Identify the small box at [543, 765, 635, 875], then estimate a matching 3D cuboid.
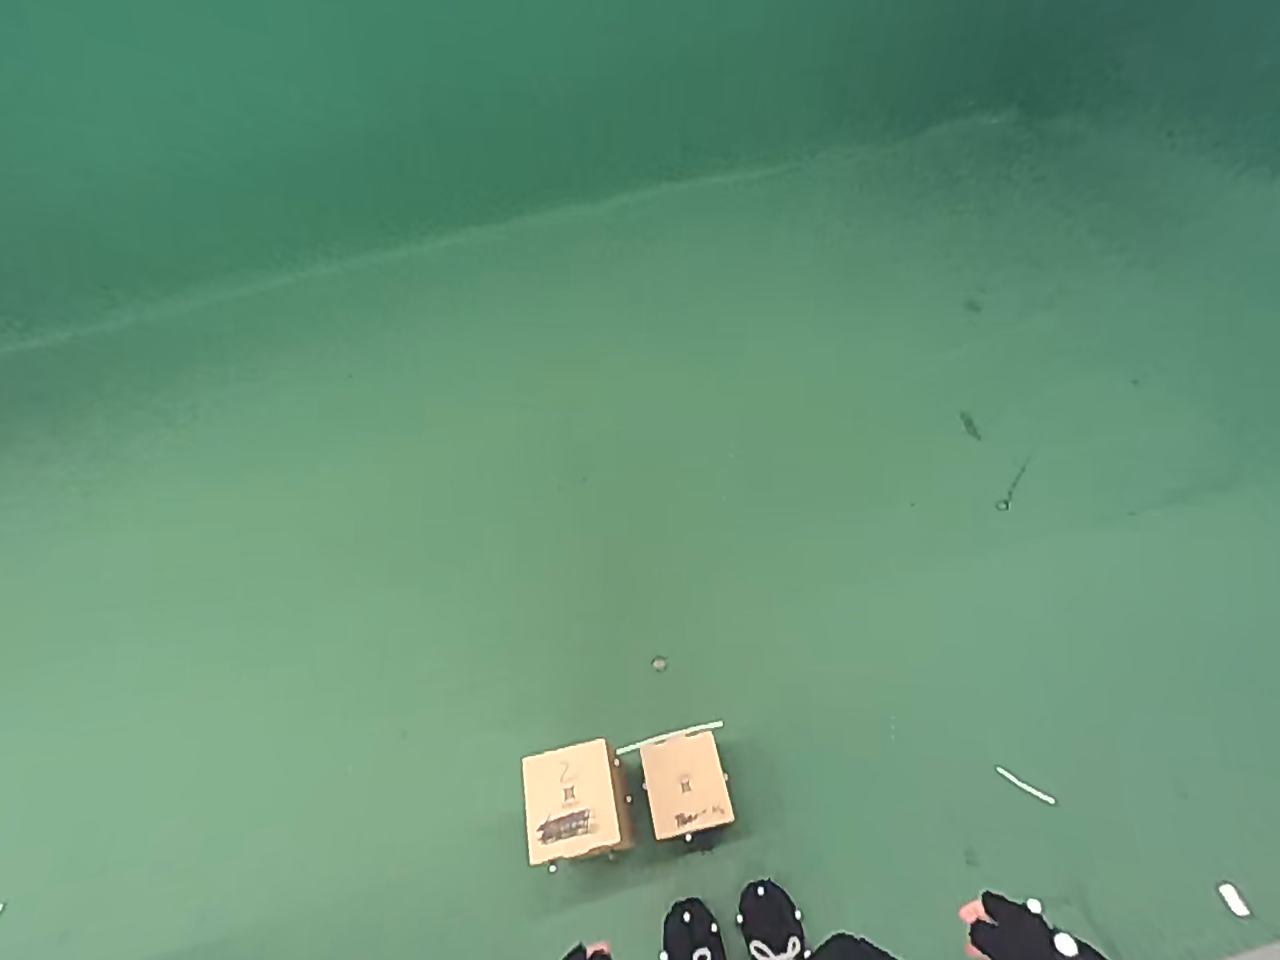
[{"bbox_3d":[-0.110,0.749,1.193,0.168,0.176,0.179,-11,55,-1],"label":"small box"}]
